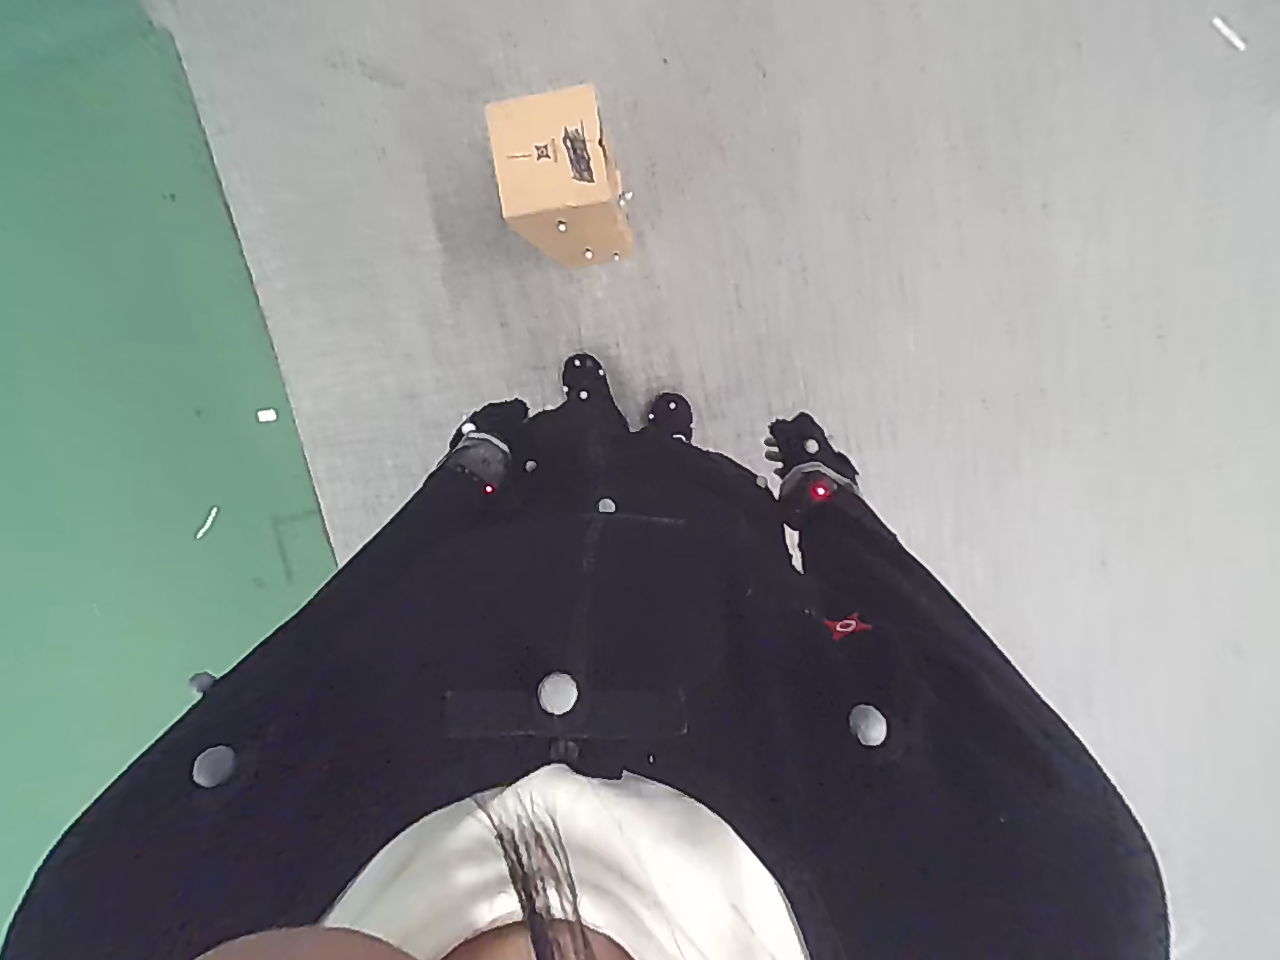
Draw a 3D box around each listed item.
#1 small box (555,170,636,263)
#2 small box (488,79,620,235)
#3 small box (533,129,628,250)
[{"bbox_3d":[-0.108,-0.606,1.230,0.179,0.176,0.168,-9,101,7],"label":"small box"},{"bbox_3d":[-0.132,-0.529,0.911,0.179,0.176,0.168,-10,102,4],"label":"small box"},{"bbox_3d":[-0.118,-0.565,1.072,0.179,0.176,0.168,-5,102,4],"label":"small box"}]
